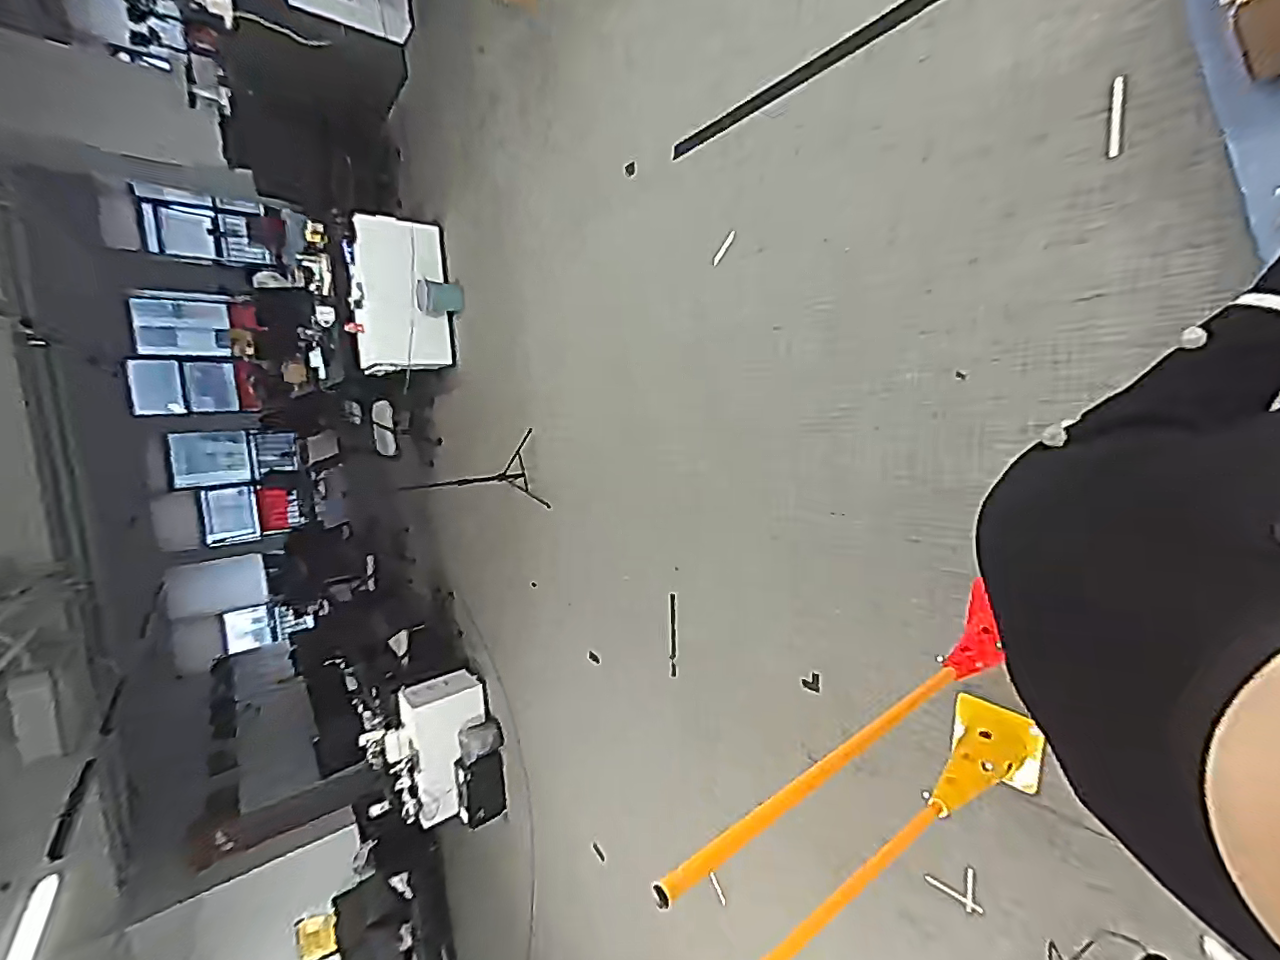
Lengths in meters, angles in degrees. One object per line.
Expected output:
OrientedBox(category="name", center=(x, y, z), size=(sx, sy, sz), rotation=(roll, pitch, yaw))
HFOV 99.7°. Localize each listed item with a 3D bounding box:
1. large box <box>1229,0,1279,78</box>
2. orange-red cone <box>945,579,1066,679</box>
OrientedBox(category="large box", center=(0.932, -0.774, 0.599), size=(0.408, 0.320, 0.320), rotation=(-14, 86, 53))
OrientedBox(category="orange-red cone", center=(0.795, 0.380, 1.244), size=(0.198, 0.360, 0.199), rotation=(18, 110, 49))
